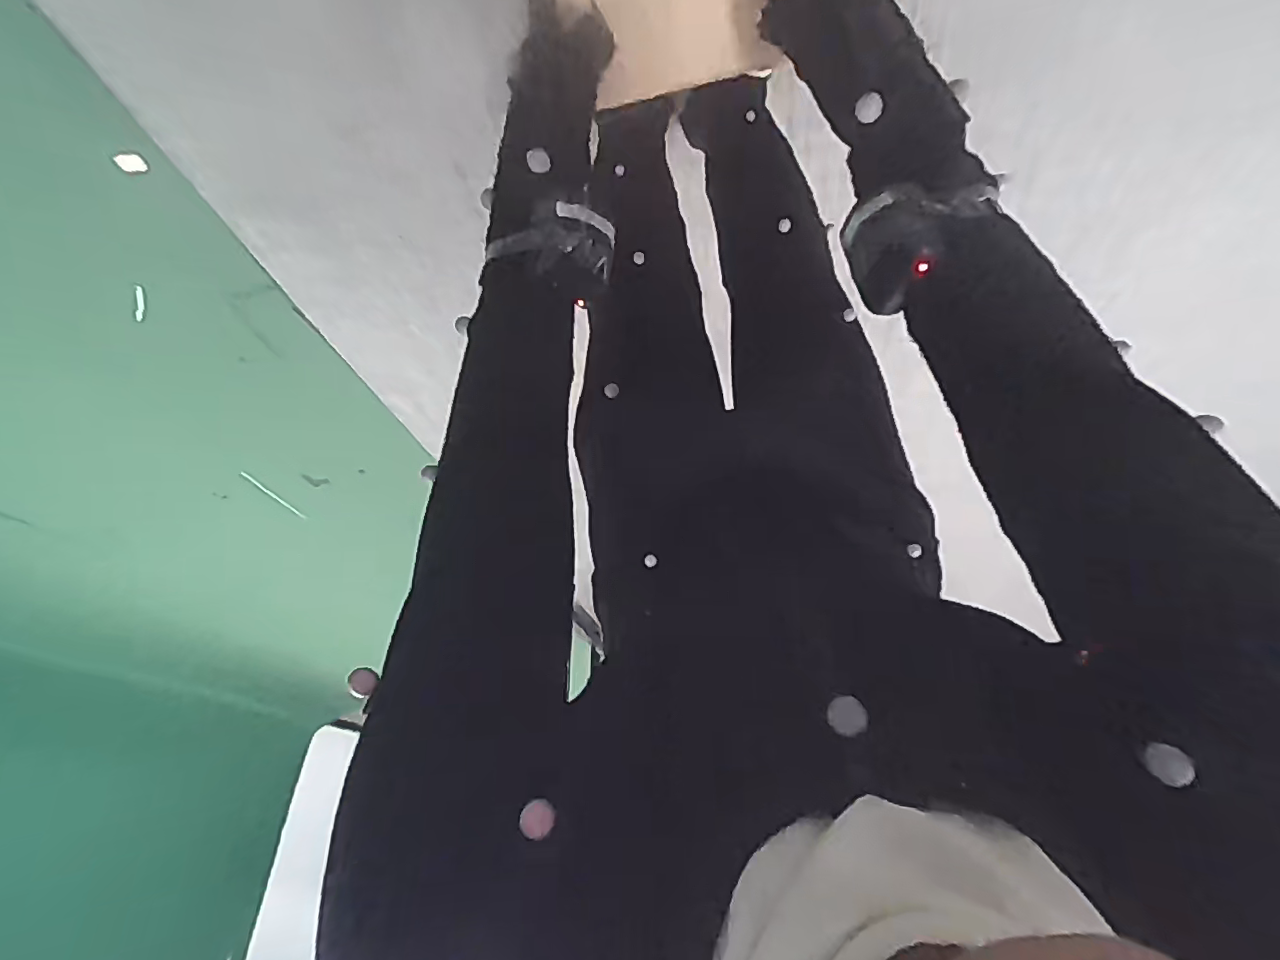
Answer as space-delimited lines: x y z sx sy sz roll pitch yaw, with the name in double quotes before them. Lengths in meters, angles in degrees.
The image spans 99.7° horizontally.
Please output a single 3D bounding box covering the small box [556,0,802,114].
"small box" 0.019 -0.414 0.422 0.179 0.176 0.168 -10 133 5
